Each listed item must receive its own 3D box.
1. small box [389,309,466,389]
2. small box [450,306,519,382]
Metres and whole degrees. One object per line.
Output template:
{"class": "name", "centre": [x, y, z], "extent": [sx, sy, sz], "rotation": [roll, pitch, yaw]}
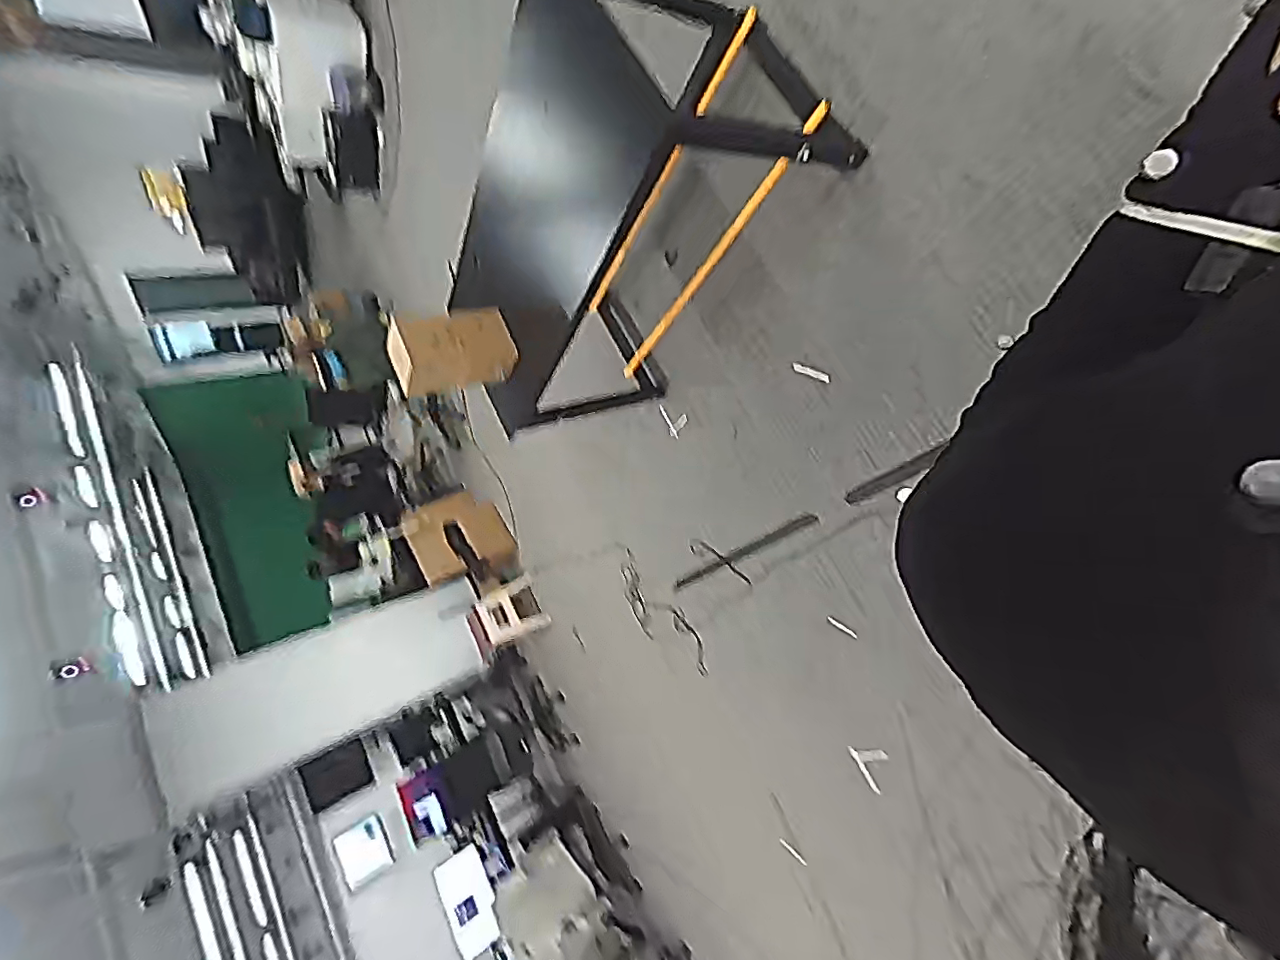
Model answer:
{"class": "small box", "centre": [-0.648, -0.403, 1.652], "extent": [0.179, 0.176, 0.168], "rotation": [-40, 72, 54]}
{"class": "small box", "centre": [-0.514, -0.442, 1.740], "extent": [0.168, 0.176, 0.179], "rotation": [-40, 74, 54]}
